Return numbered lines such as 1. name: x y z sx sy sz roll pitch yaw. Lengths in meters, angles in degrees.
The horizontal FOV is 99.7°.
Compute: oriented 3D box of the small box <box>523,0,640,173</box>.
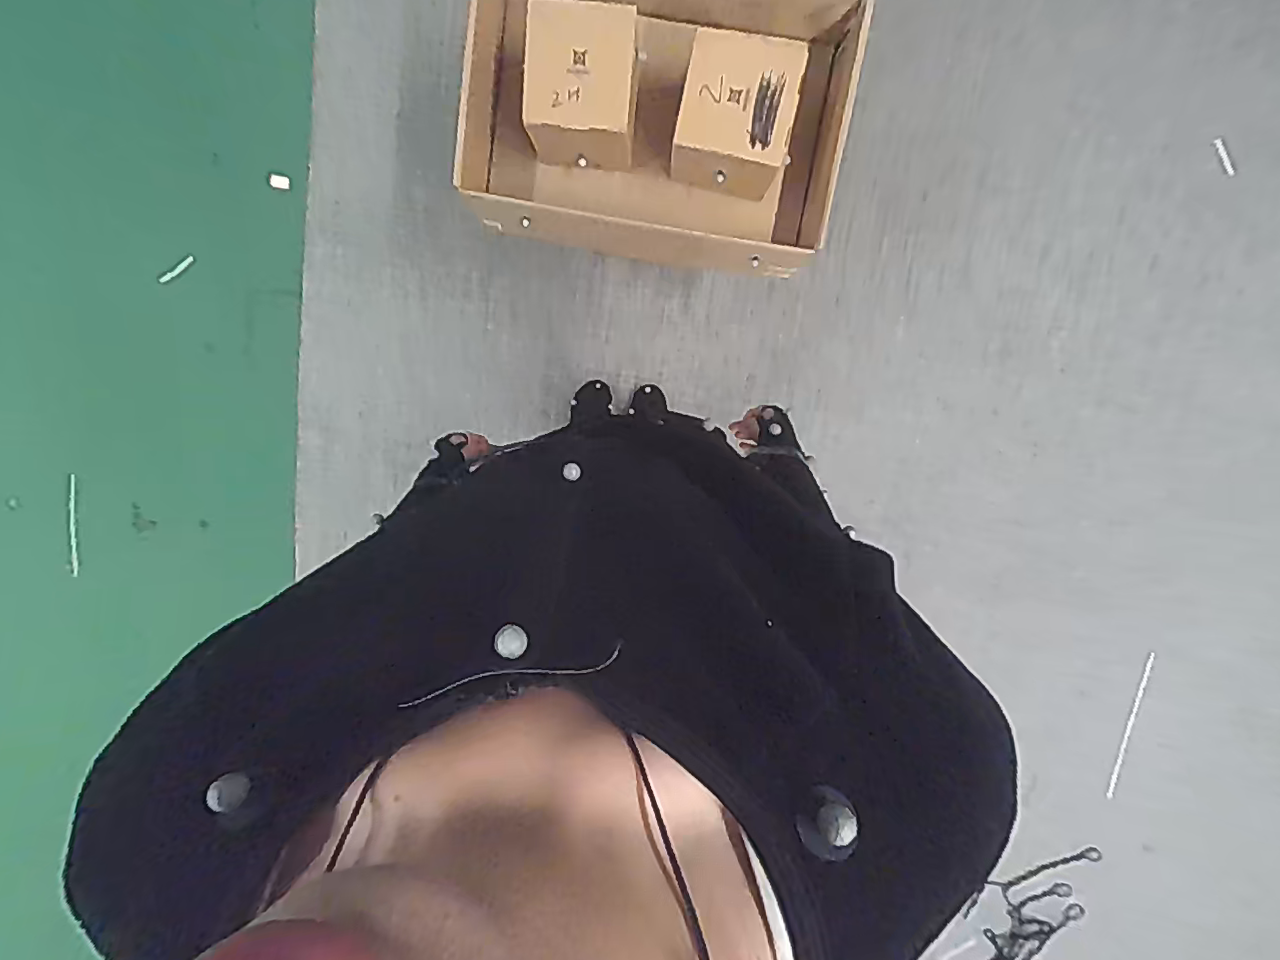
1. small box: -0.090 -0.642 0.898 0.168 0.176 0.179 6 100 0
